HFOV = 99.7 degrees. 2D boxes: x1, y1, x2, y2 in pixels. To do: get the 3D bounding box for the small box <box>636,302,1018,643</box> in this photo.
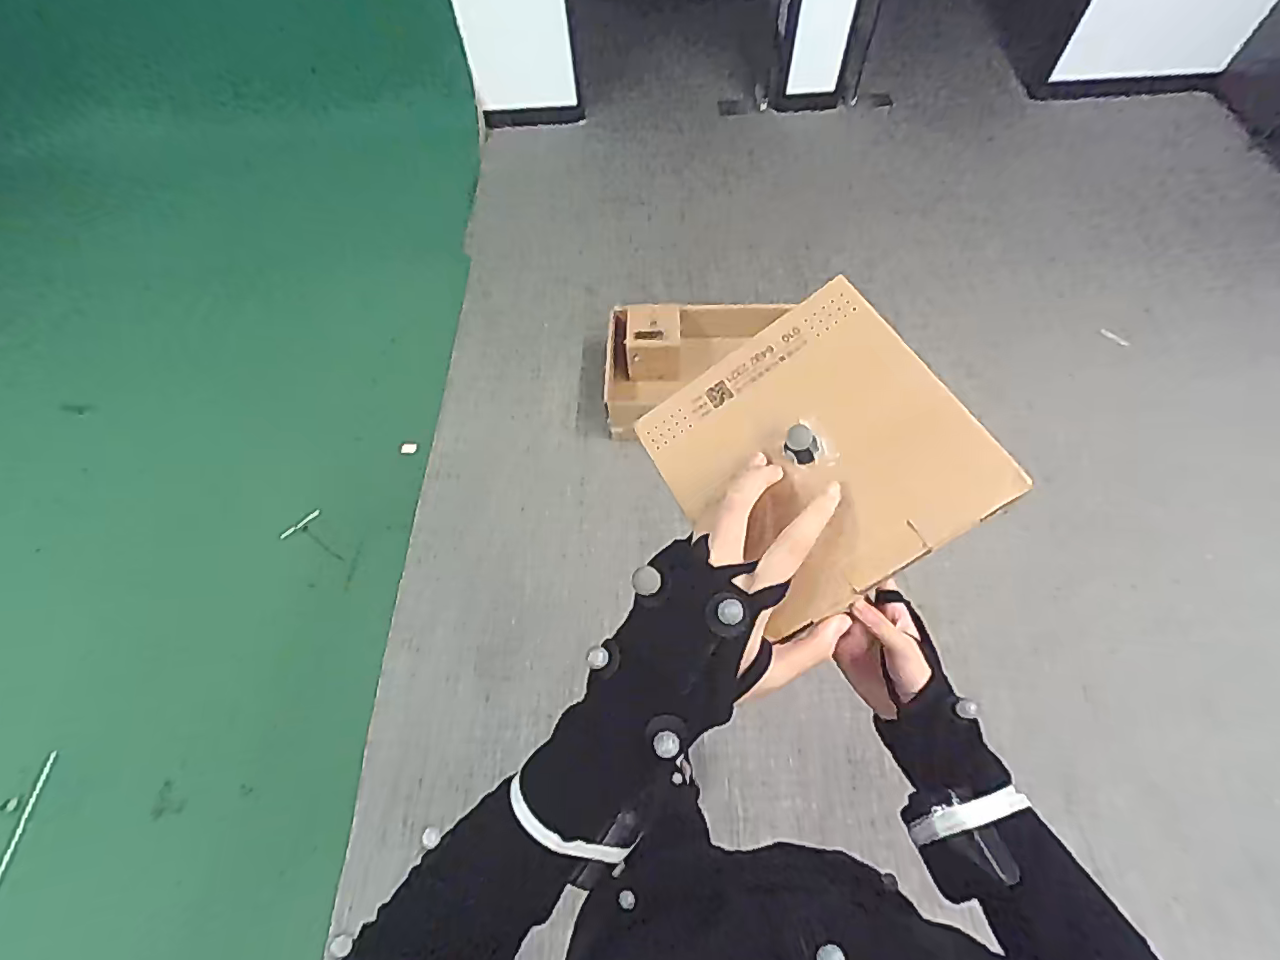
[{"bbox_3d":[0.122,0.001,0.397,0.168,0.179,0.176,-34,66,10],"label":"small box"}]
